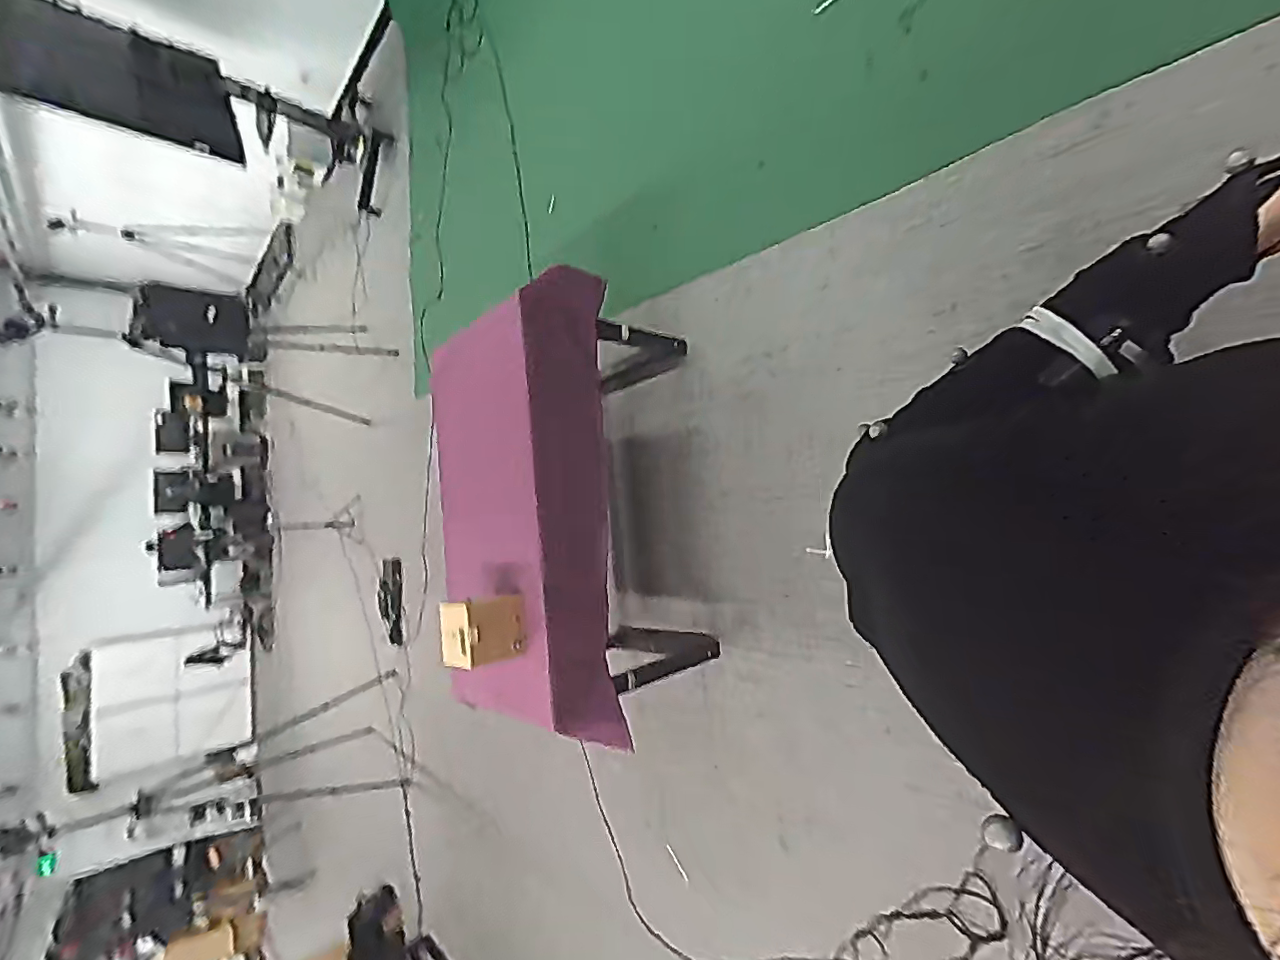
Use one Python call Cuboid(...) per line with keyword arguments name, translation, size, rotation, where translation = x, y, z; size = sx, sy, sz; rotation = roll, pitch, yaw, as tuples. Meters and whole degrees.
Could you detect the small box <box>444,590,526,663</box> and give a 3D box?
Cuboid(name="small box", translation=(-0.433, 0.406, 1.527), size=(0.179, 0.176, 0.168), rotation=(-12, 81, 47))
